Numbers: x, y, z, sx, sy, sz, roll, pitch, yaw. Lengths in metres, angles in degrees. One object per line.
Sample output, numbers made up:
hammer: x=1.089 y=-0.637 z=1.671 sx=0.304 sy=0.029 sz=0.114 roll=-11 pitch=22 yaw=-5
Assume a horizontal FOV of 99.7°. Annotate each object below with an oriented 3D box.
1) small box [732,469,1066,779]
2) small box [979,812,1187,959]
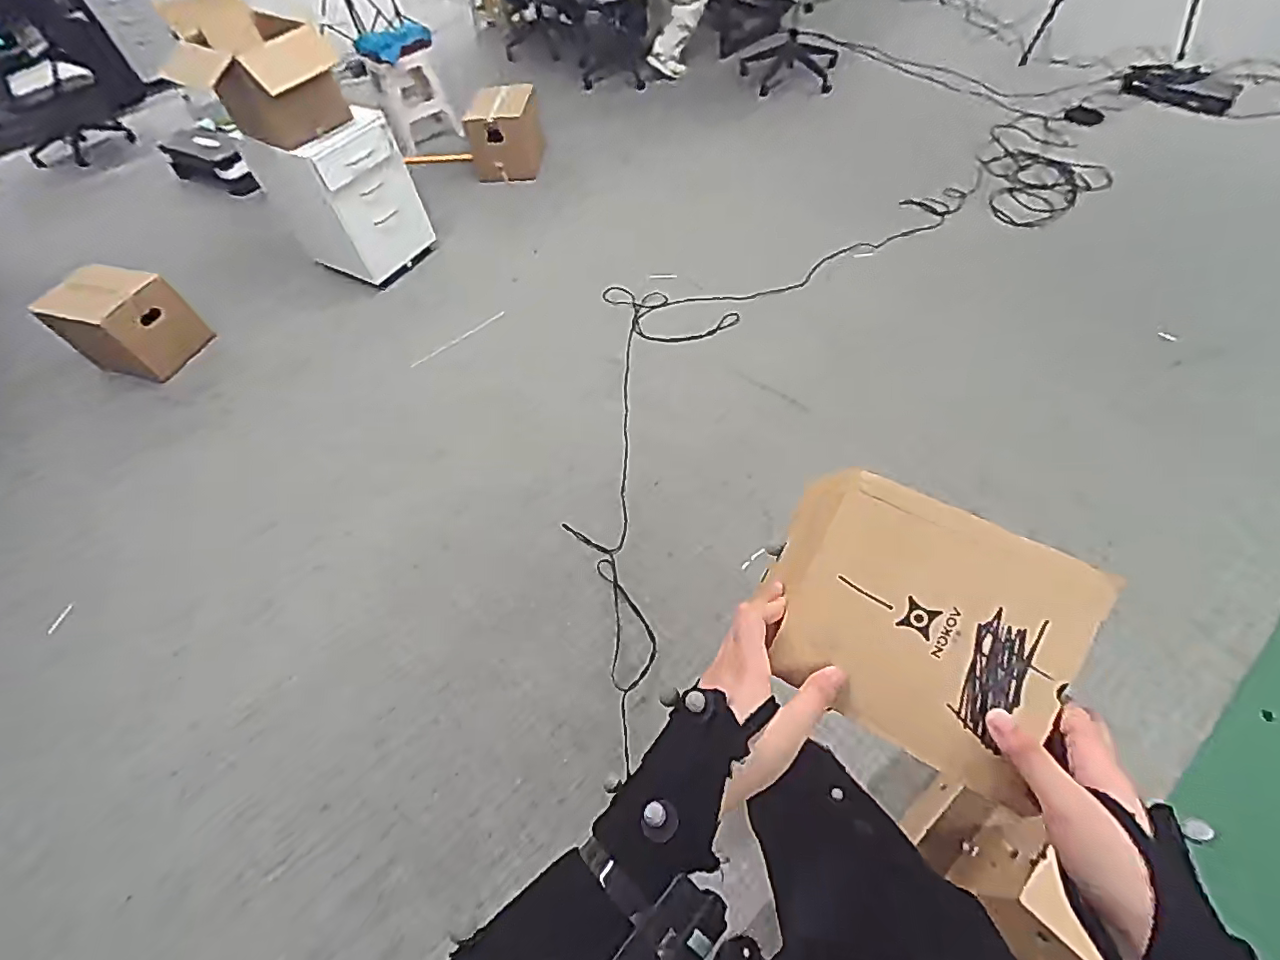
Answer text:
small box: x=0.196 y=0.106 z=0.466 sx=0.179 sy=0.176 sz=0.168 roll=27 pitch=87 yaw=7
small box: x=0.691 y=0.678 z=0.868 sx=0.168 sy=0.176 sz=0.179 roll=-39 pitch=59 yaw=-19
